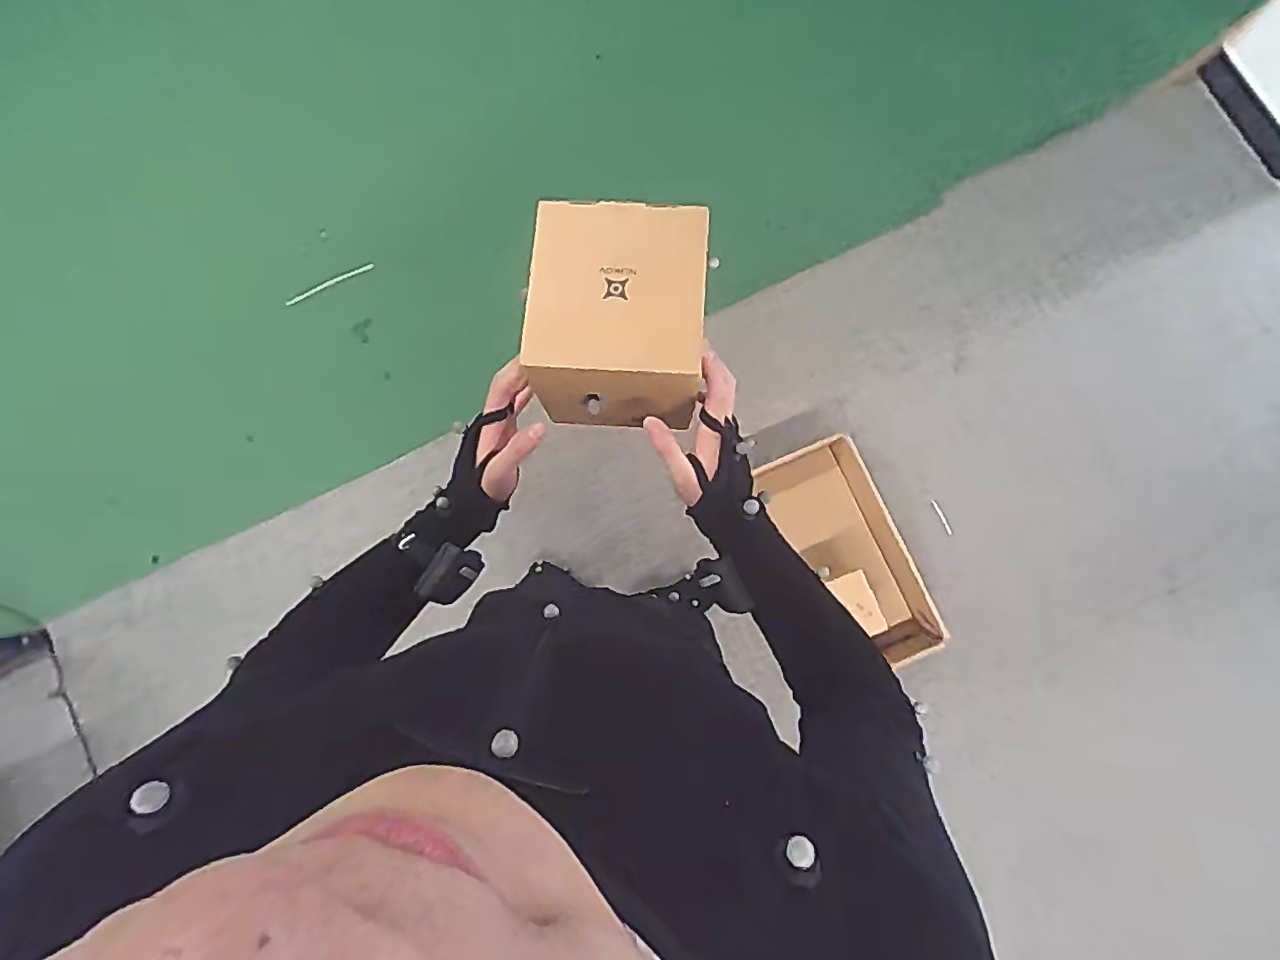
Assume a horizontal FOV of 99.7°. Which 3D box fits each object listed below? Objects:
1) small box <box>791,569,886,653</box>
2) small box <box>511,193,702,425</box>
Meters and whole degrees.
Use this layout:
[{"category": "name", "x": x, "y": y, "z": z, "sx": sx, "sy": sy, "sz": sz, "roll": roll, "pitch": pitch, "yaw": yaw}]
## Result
[{"category": "small box", "x": 0.524, "y": 0.349, "z": 1.463, "sx": 0.179, "sy": 0.176, "sz": 0.168, "roll": -21, "pitch": 82, "yaw": 0}, {"category": "small box", "x": -0.026, "y": -0.165, "z": 0.568, "sx": 0.168, "sy": 0.176, "sz": 0.179, "roll": 3, "pitch": 77, "yaw": 1}]
